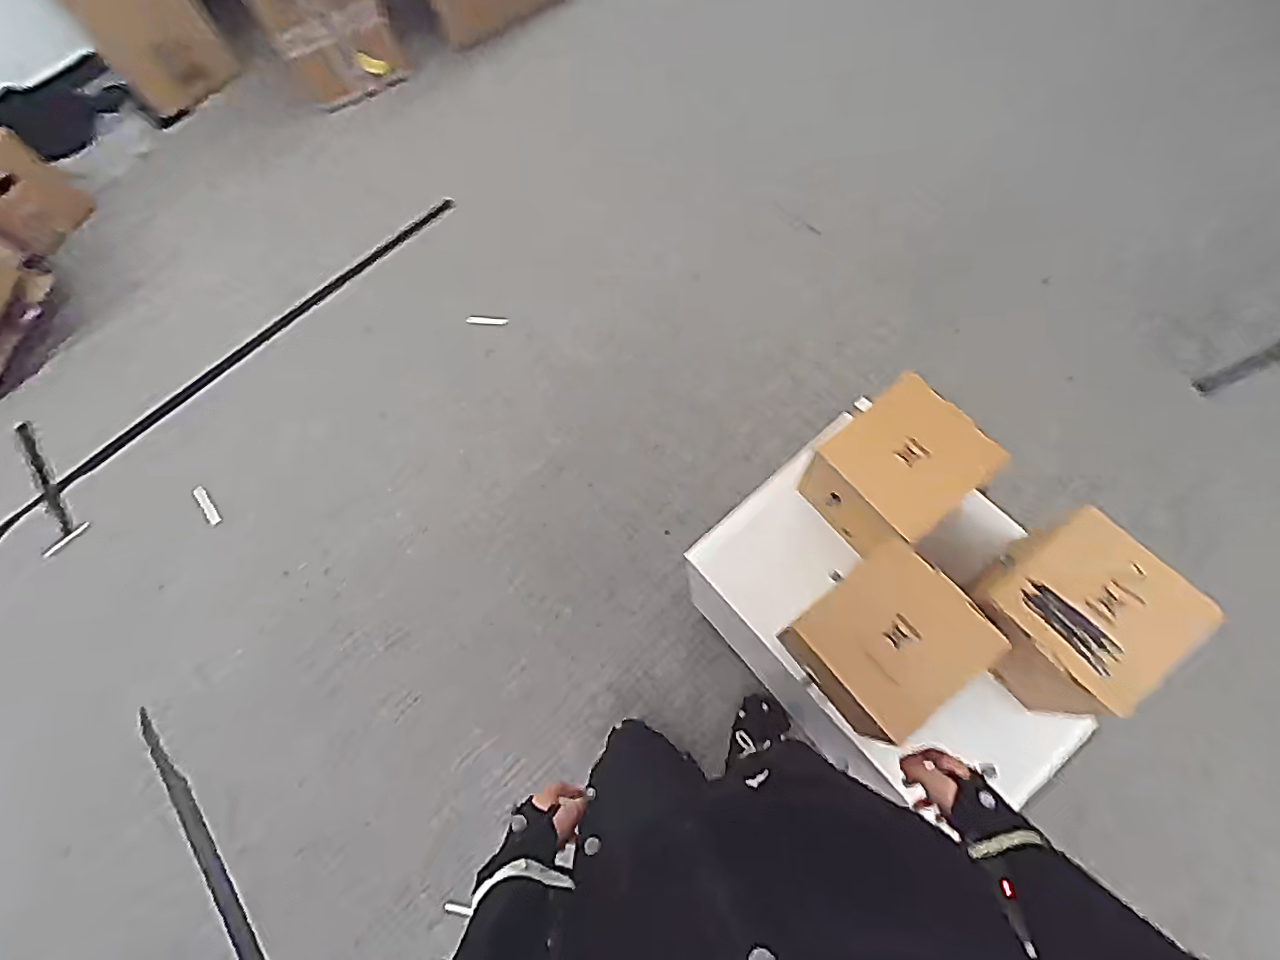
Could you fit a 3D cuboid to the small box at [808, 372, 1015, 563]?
[{"bbox_3d":[0.354,-0.007,0.750,0.179,0.176,0.168,-36,70,-7],"label":"small box"}]
